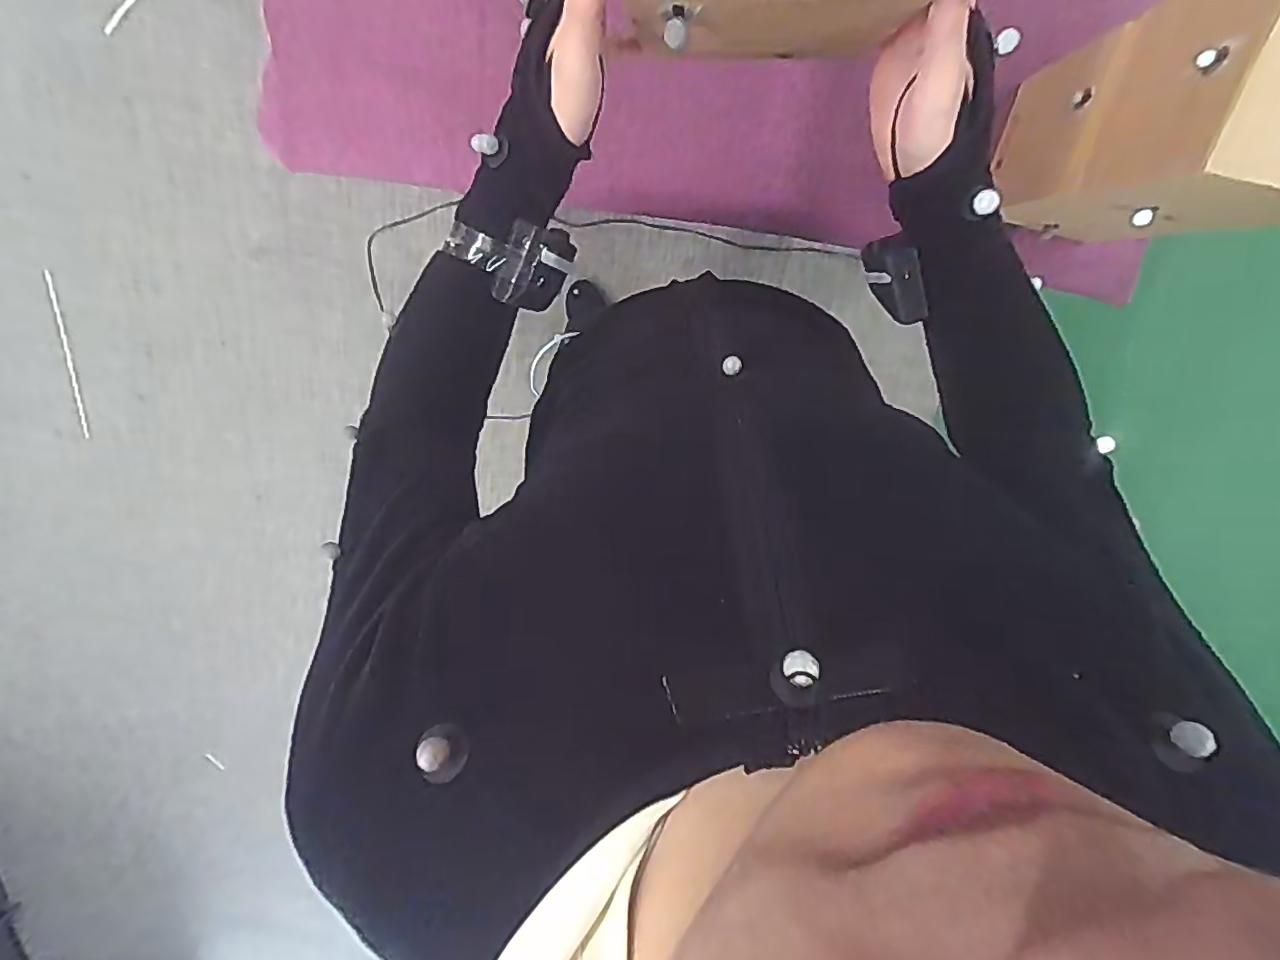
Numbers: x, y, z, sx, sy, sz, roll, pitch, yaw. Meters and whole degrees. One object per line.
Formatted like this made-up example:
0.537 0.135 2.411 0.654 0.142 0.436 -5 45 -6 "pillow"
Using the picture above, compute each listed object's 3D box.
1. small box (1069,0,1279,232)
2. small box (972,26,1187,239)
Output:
0.562 -0.348 0.504 0.168 0.176 0.179 12 110 -2 "small box"
0.560 -0.400 0.659 0.179 0.176 0.168 11 109 -4 "small box"
